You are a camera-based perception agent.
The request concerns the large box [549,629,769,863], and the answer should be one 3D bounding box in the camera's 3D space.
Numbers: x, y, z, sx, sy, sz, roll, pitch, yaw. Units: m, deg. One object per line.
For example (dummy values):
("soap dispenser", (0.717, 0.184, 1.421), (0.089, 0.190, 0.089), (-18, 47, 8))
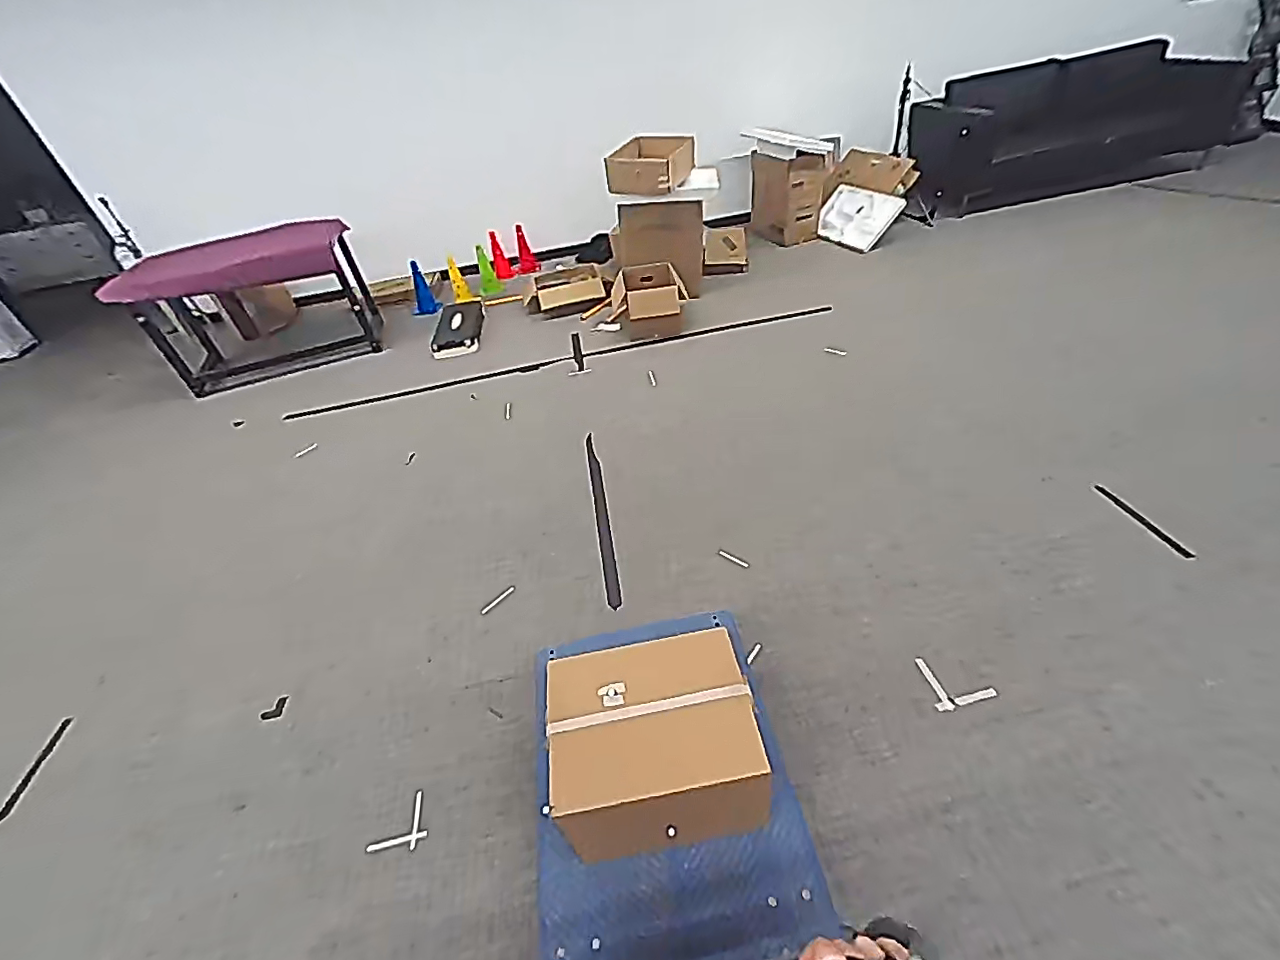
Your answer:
("large box", (0.039, 0.581, 1.184), (0.408, 0.320, 0.320), (-12, 40, -1))
